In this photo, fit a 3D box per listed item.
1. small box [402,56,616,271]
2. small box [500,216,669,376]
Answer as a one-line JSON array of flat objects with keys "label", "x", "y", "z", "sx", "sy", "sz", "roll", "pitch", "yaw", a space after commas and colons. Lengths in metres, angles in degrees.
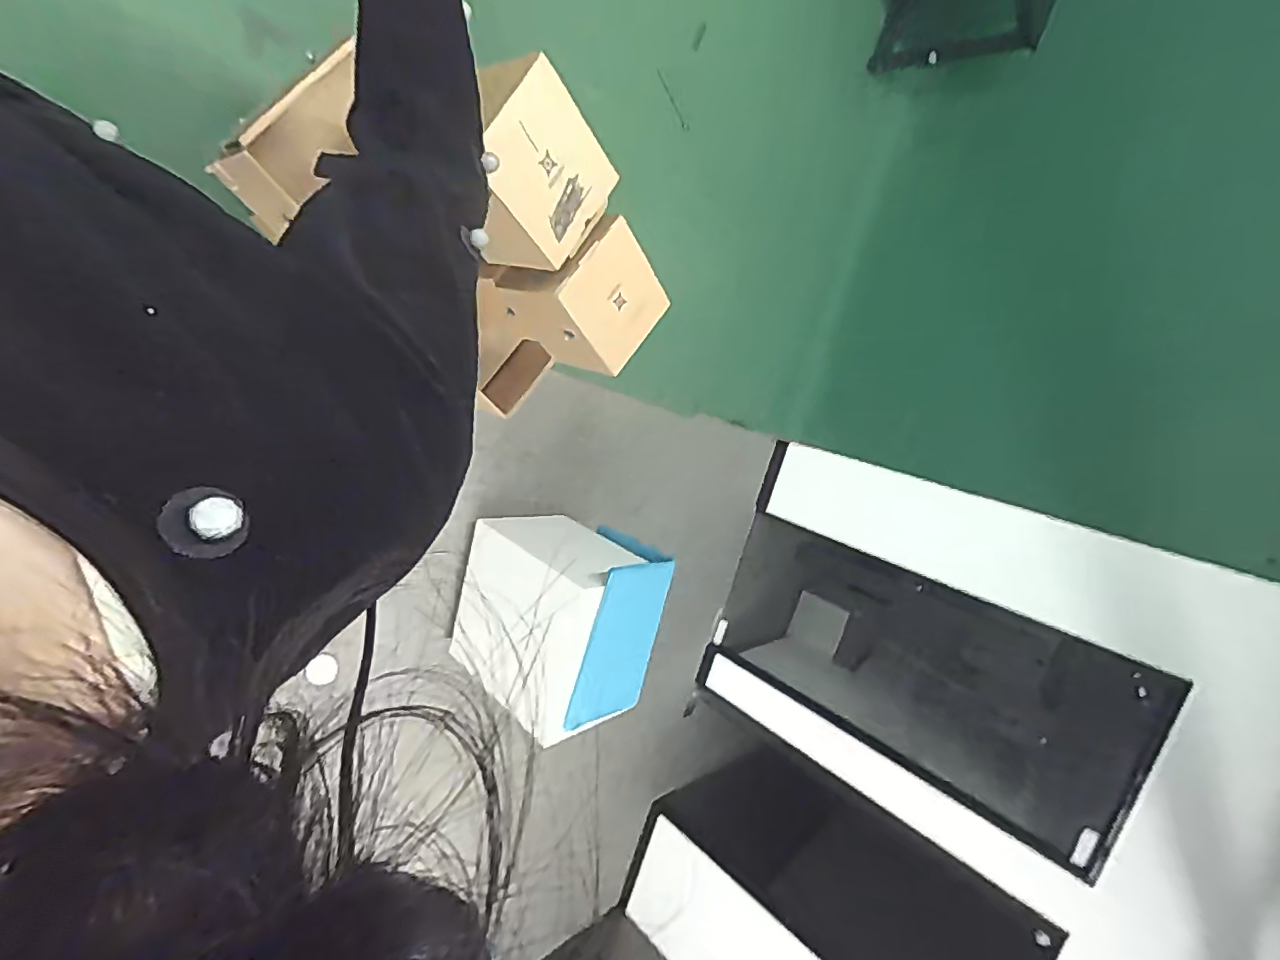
[{"label": "small box", "x": -0.171, "y": -0.406, "z": 0.717, "sx": 0.179, "sy": 0.176, "sz": 0.168, "roll": 41, "pitch": 74, "yaw": -49}, {"label": "small box", "x": -0.090, "y": -0.294, "z": 0.873, "sx": 0.168, "sy": 0.176, "sz": 0.179, "roll": -55, "pitch": 137, "yaw": -14}]
